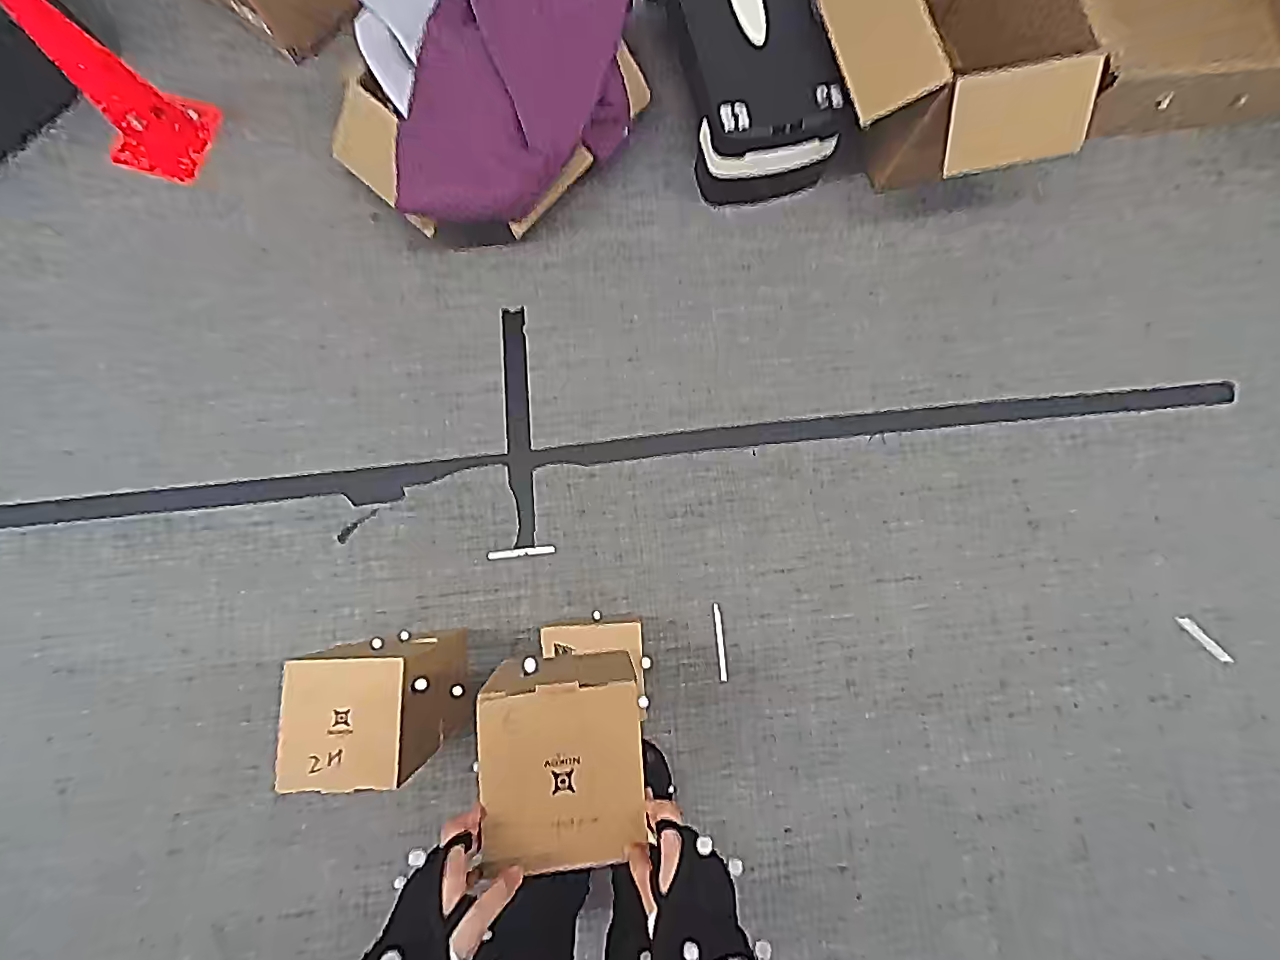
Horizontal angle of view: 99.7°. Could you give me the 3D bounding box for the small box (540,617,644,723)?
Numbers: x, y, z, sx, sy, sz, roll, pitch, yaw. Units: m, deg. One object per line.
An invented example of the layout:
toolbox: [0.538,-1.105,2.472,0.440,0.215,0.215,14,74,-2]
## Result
small box: [-0.085,0.347,0.998,0.179,0.176,0.168,-2,81,-3]

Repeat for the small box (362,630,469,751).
small box: [-0.418,0.380,0.980,0.168,0.176,0.179,-6,82,-3]

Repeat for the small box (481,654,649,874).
small box: [-0.084,0.309,0.630,0.168,0.176,0.179,-5,85,-5]

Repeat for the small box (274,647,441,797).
small box: [-0.411,0.351,0.817,0.168,0.176,0.179,-1,81,-1]
